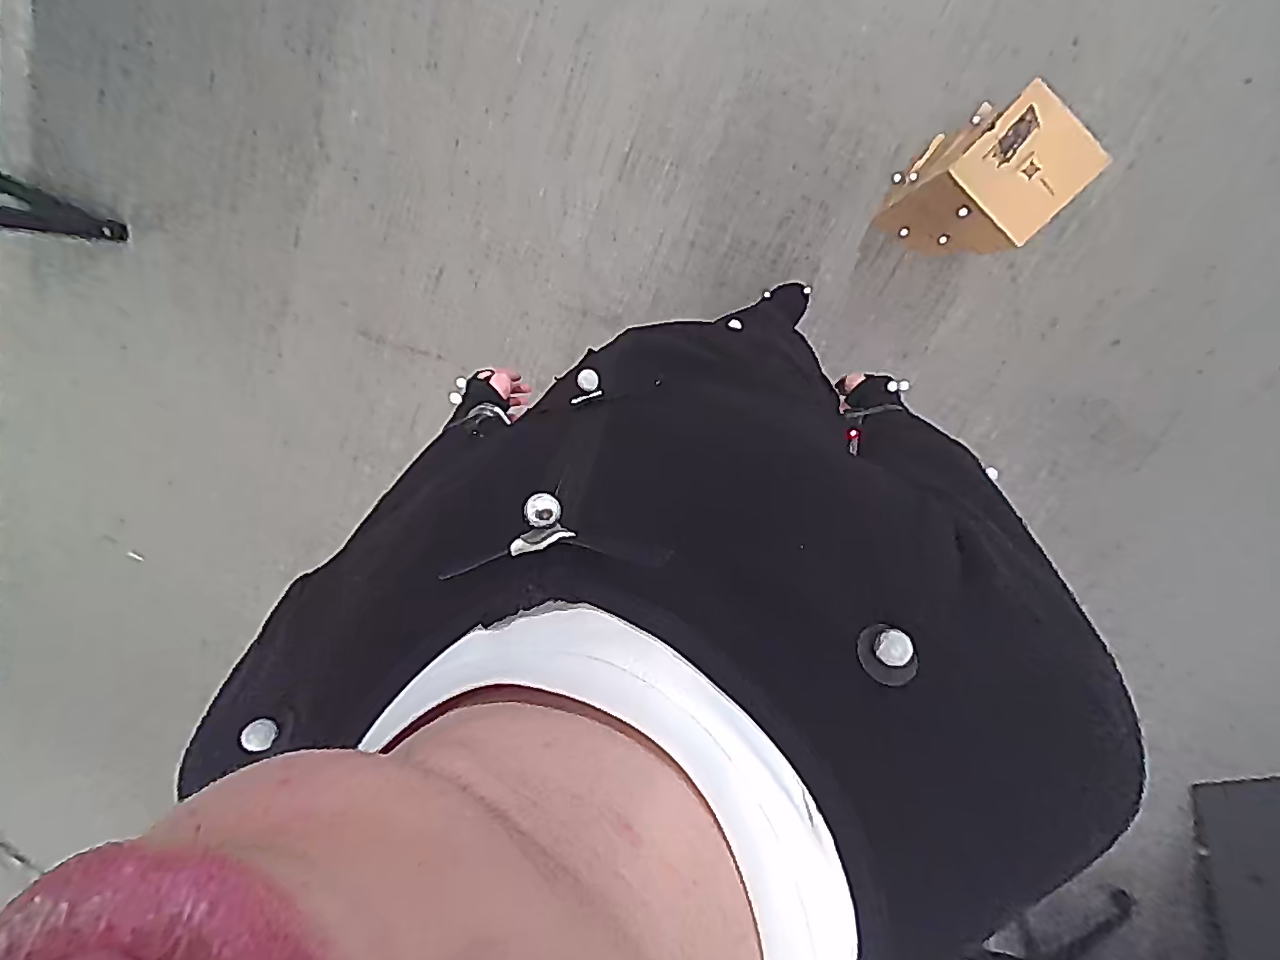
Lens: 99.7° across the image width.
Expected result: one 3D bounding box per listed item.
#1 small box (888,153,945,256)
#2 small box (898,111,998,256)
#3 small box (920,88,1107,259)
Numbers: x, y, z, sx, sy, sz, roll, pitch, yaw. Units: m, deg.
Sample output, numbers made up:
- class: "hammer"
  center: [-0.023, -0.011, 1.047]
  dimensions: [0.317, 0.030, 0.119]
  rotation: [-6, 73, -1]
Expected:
- class: "small box"
  center: [0.674, -0.610, 1.214]
  dimensions: [0.168, 0.176, 0.179]
  rotation: [3, 105, 8]
- class: "small box"
  center: [0.641, -0.568, 1.068]
  dimensions: [0.168, 0.176, 0.179]
  rotation: [37, 108, -3]
- class: "small box"
  center: [0.614, -0.500, 0.918]
  dimensions: [0.168, 0.176, 0.179]
  rotation: [-41, 97, 20]
